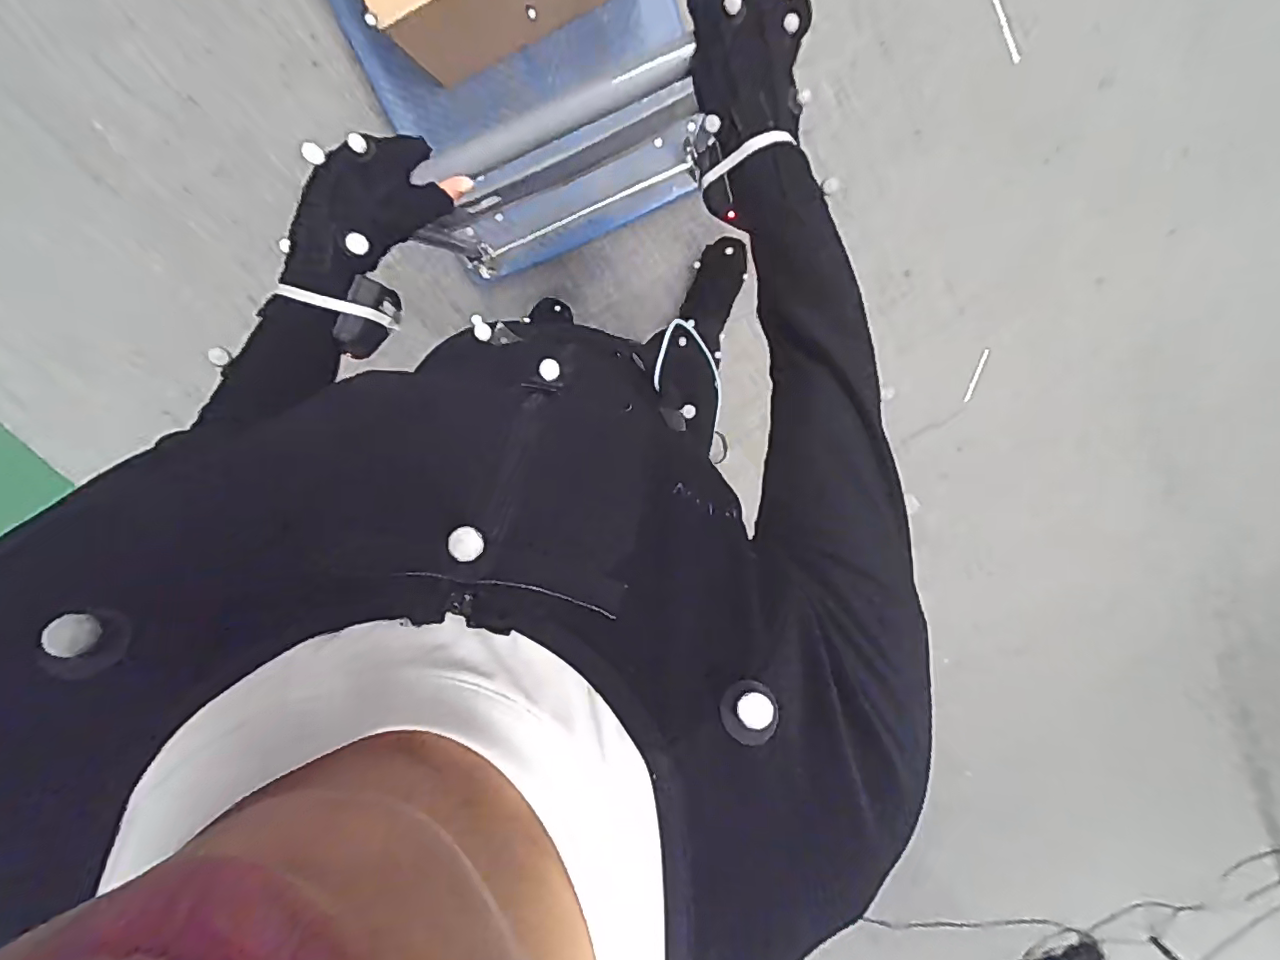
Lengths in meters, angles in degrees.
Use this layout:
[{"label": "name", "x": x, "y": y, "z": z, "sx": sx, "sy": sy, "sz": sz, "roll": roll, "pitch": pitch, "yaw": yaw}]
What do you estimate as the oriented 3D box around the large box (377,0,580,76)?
[{"label": "large box", "x": -0.236, "y": -0.896, "z": 0.795, "sx": 0.408, "sy": 0.320, "sz": 0.320, "roll": -23, "pitch": 112, "yaw": 8}]
